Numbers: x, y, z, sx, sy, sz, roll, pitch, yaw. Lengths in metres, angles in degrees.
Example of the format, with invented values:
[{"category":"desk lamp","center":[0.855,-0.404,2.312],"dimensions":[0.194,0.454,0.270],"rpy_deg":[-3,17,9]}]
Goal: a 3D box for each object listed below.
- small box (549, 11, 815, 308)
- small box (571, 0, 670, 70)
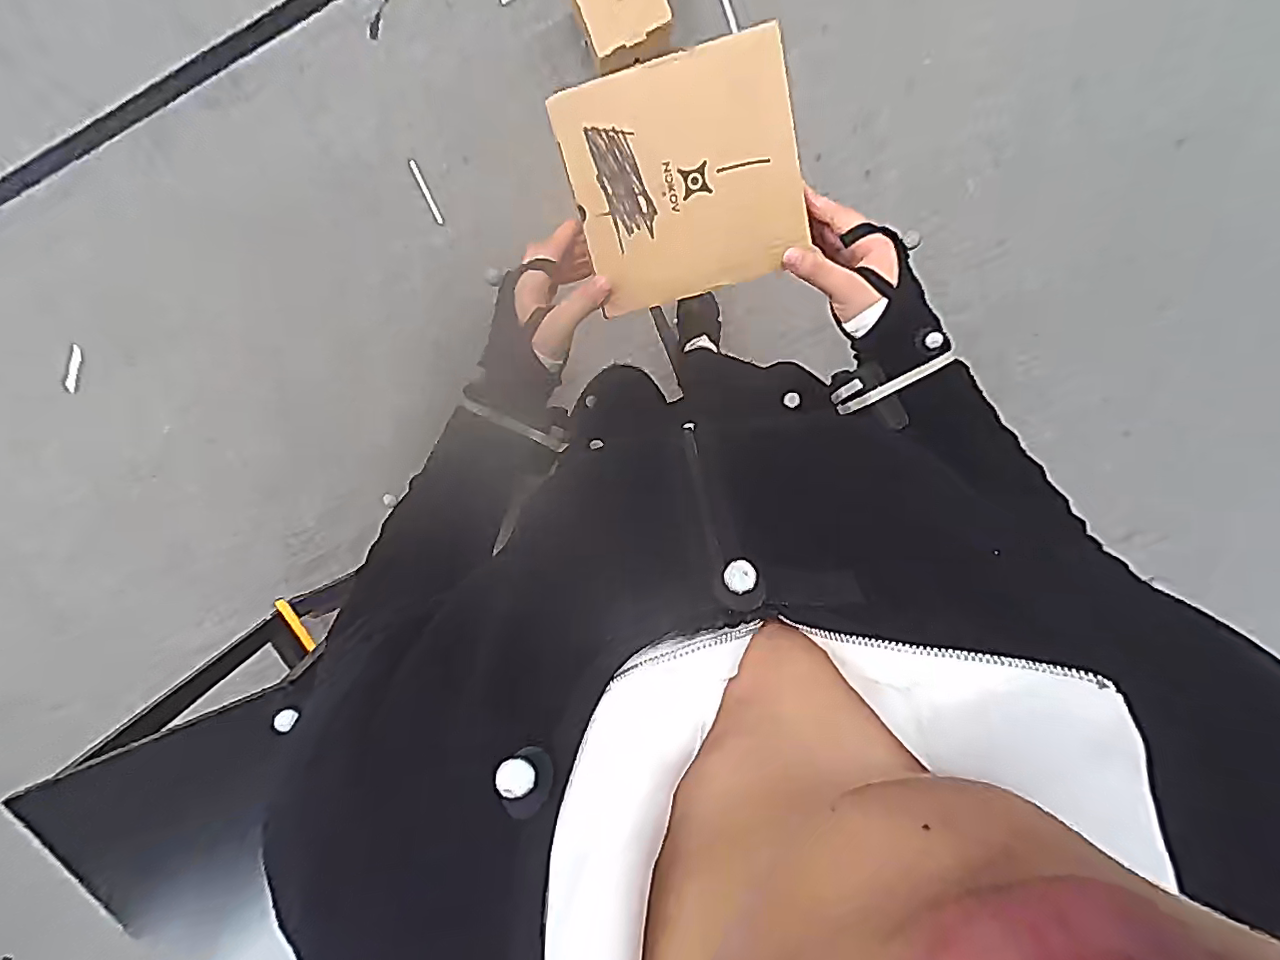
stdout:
[{"category":"small box","center":[0.039,-0.259,0.484],"dimensions":[0.179,0.176,0.168],"rpy_deg":[-13,109,7]},{"category":"small box","center":[-0.042,-0.973,1.138],"dimensions":[0.168,0.176,0.179],"rpy_deg":[-22,106,7]}]
